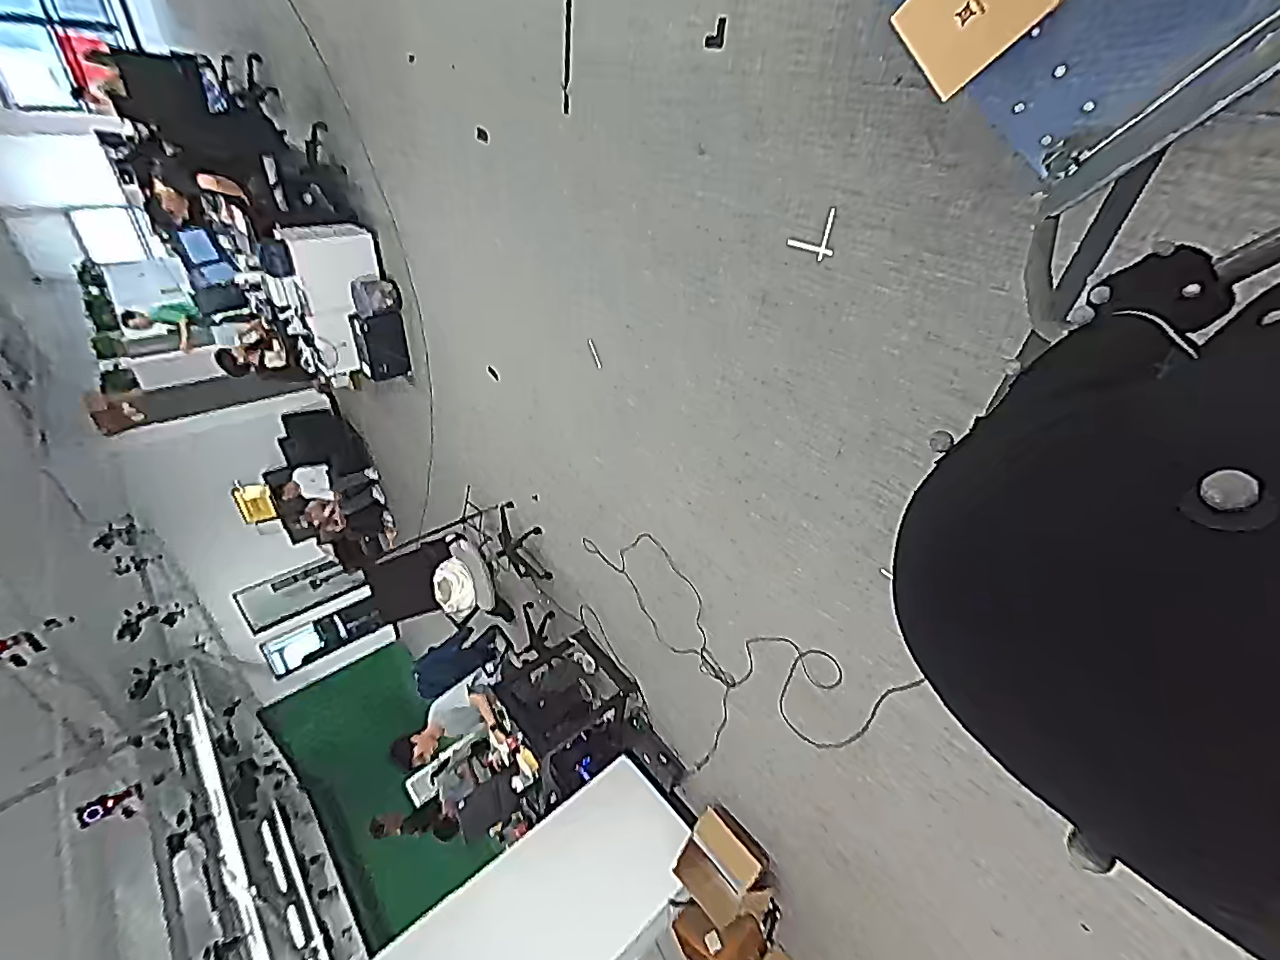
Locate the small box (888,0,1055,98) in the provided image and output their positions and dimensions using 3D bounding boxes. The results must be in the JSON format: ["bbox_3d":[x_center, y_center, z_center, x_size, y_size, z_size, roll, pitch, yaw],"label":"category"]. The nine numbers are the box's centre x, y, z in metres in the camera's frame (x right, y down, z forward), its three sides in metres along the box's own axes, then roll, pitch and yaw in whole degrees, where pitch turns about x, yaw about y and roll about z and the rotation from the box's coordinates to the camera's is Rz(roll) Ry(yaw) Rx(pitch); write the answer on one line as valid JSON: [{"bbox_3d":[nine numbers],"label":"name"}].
[{"bbox_3d":[0.552,-0.783,0.890,0.168,0.176,0.179,49,144,-9],"label":"small box"}]
